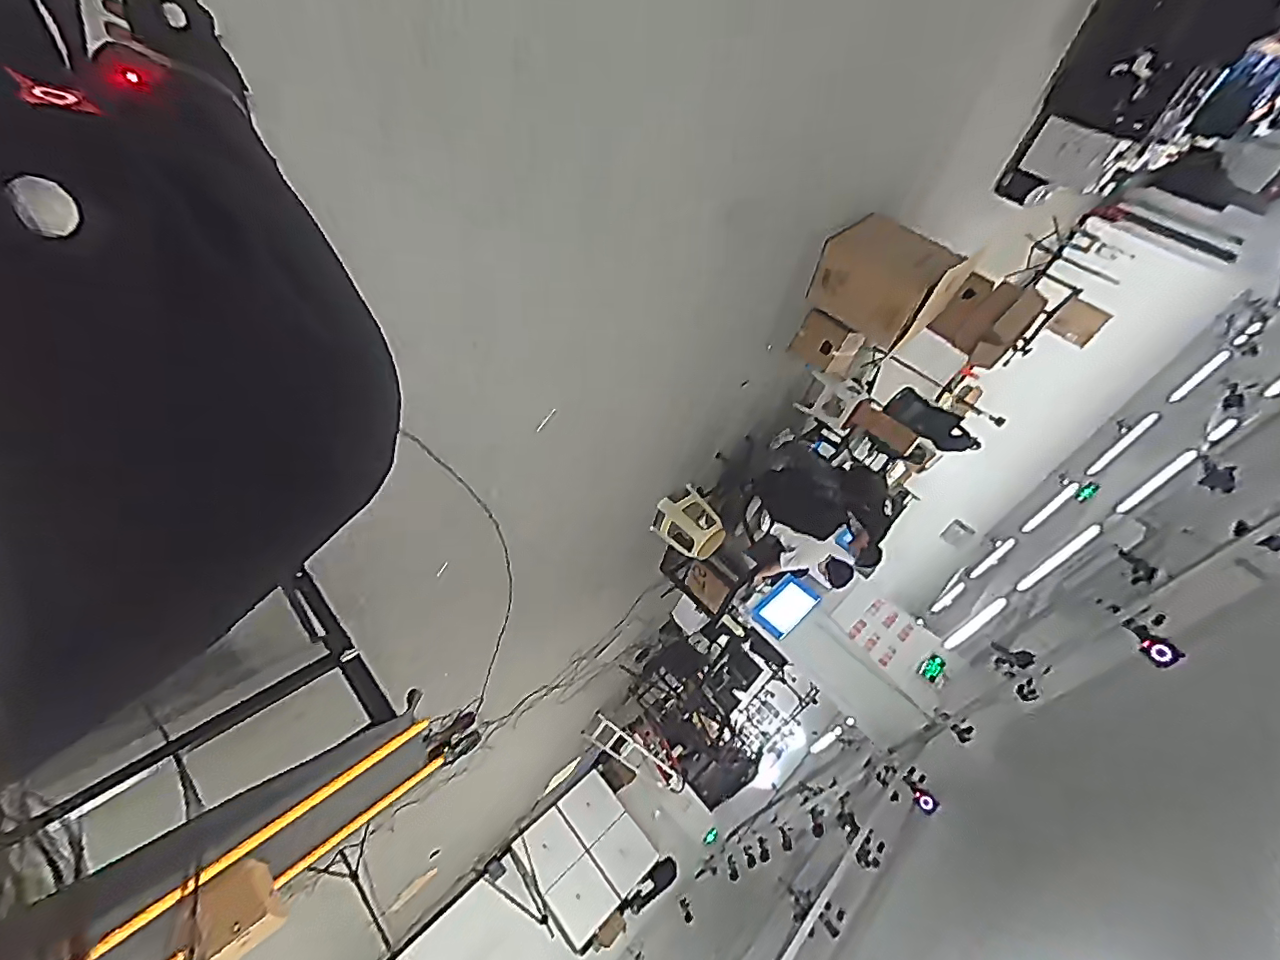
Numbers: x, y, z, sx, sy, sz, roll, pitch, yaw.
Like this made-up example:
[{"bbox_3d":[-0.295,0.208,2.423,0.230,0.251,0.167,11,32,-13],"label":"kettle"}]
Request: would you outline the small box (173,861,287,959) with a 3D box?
[{"bbox_3d":[-1.065,1.140,1.412,0.168,0.176,0.179,-32,152,-34],"label":"small box"}]
